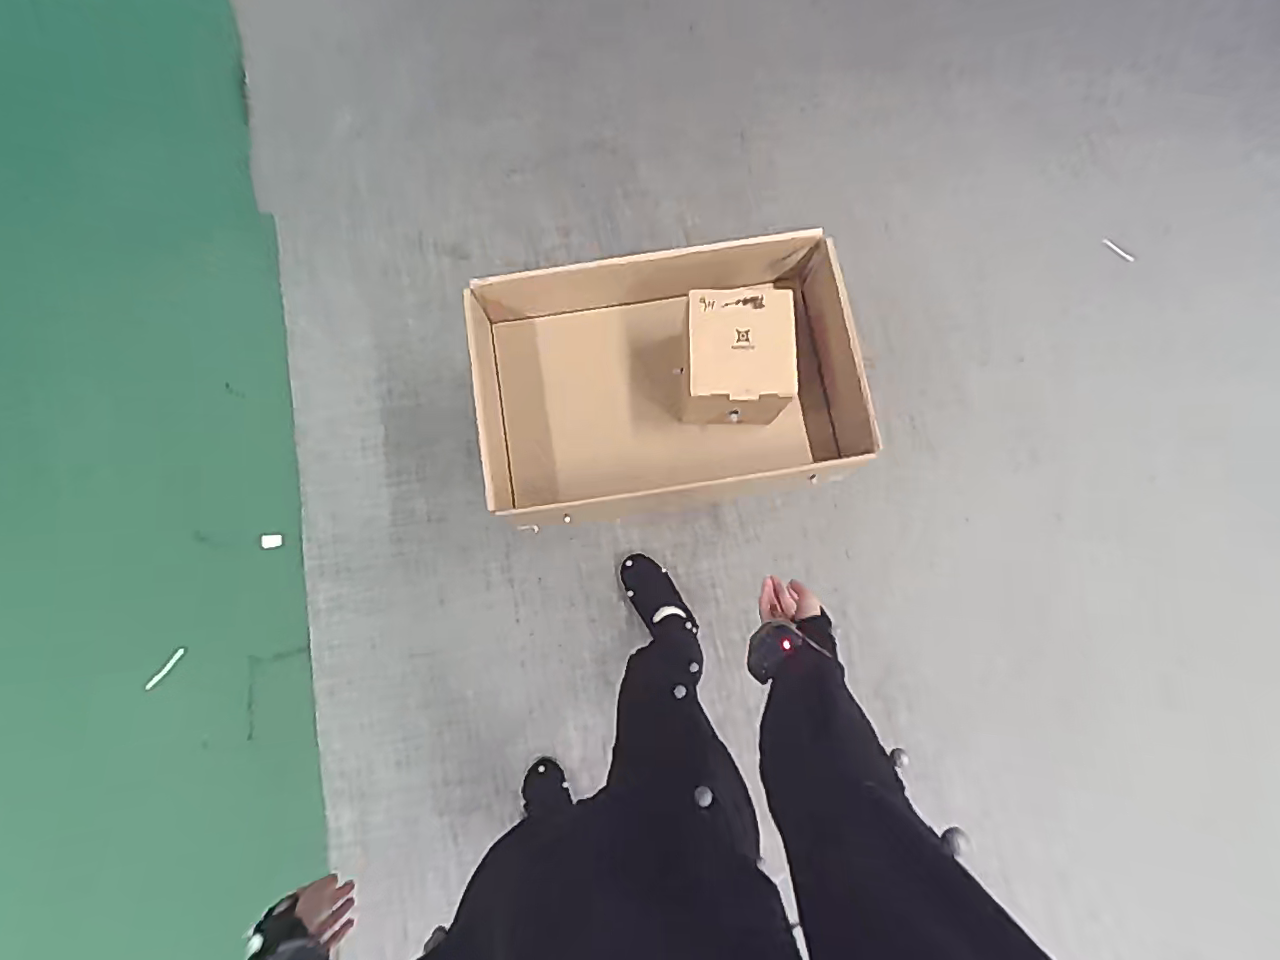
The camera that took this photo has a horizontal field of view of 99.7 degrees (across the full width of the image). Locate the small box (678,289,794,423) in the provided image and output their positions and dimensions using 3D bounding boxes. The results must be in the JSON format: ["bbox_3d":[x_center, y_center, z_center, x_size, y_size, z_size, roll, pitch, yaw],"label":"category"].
[{"bbox_3d":[0.154,-0.198,0.907,0.168,0.176,0.179,1,81,-1],"label":"small box"}]
